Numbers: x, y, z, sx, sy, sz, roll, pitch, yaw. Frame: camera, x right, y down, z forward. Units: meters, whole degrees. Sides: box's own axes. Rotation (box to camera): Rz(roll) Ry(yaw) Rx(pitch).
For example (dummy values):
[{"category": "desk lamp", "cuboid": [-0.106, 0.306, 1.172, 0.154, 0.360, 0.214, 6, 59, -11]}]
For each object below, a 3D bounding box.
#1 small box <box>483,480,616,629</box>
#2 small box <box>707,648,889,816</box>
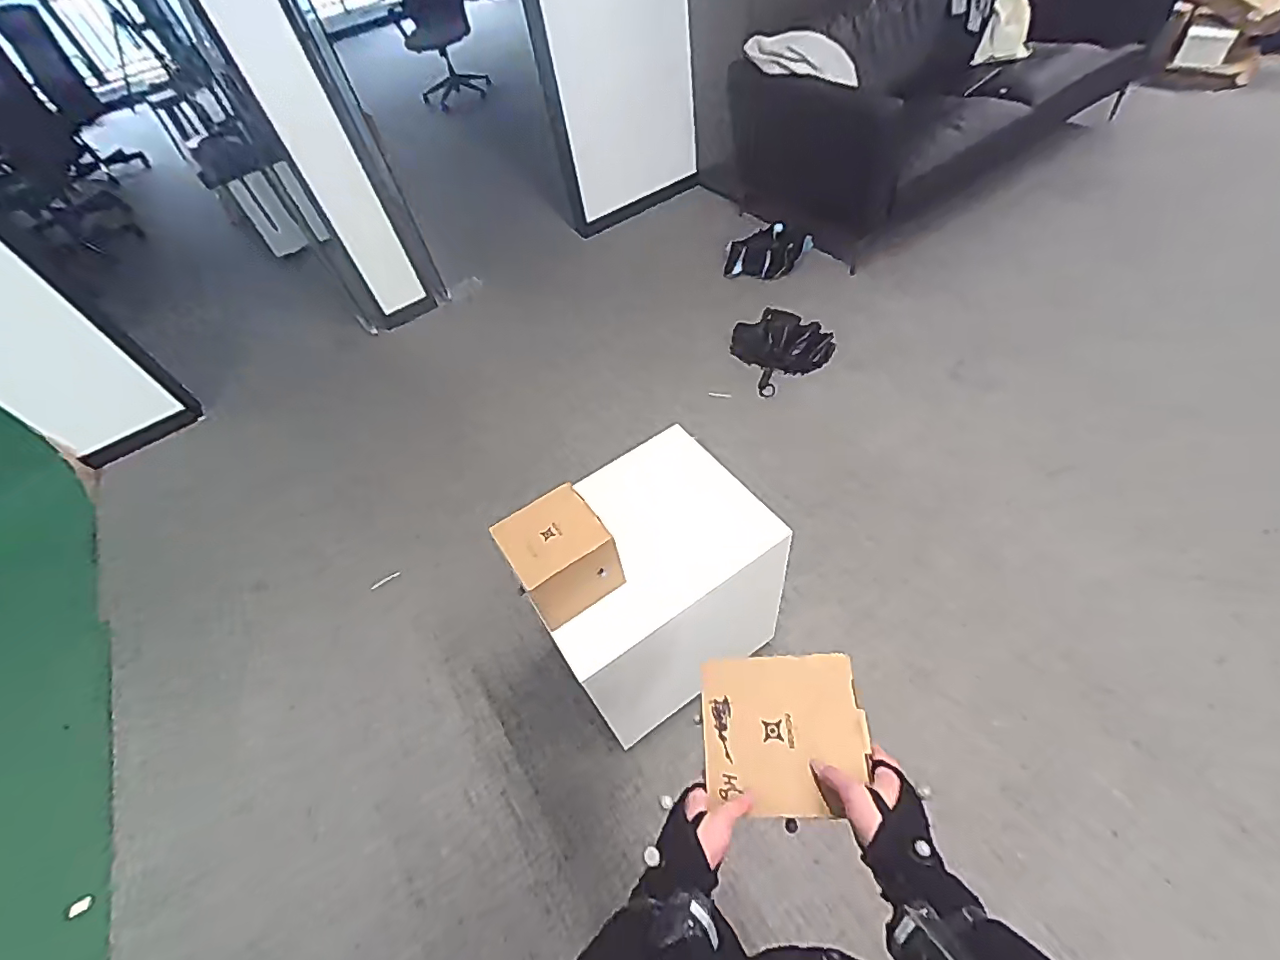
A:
[{"category": "small box", "cuboid": [-0.157, 0.139, 0.999, 0.179, 0.176, 0.168, -32, 54, -19]}, {"category": "small box", "cuboid": [0.175, 0.306, 0.654, 0.179, 0.176, 0.168, -5, 58, 8]}]
